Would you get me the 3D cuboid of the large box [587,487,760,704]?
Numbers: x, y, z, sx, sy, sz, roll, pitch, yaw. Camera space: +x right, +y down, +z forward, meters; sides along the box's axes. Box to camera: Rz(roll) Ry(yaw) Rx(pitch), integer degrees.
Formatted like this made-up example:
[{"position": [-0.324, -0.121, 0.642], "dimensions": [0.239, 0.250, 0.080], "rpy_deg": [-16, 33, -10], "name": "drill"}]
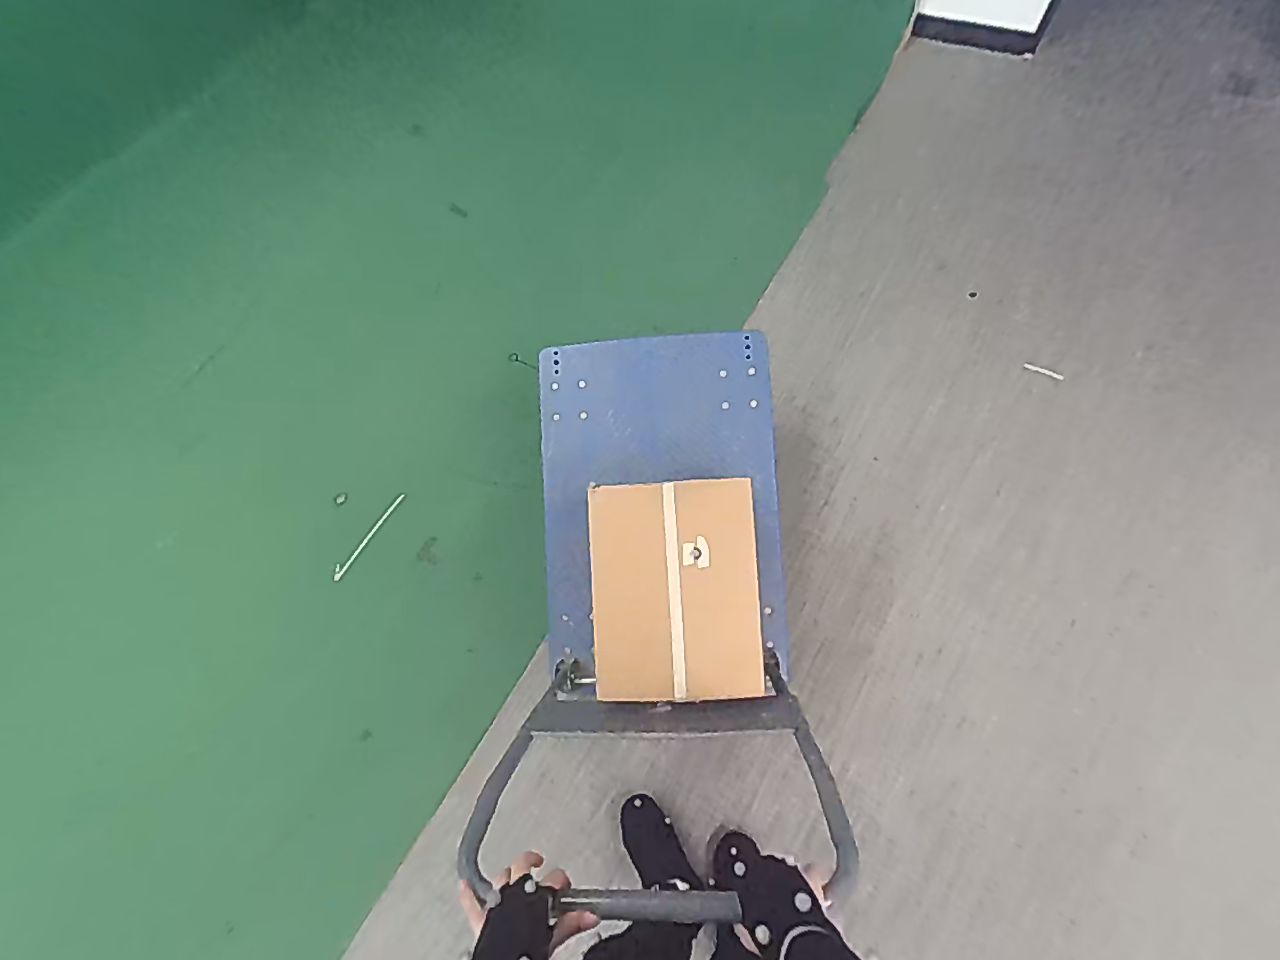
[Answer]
[{"position": [0.075, 0.235, 1.178], "dimensions": [0.320, 0.320, 0.408], "rpy_deg": [-3, 85, 5], "name": "large box"}]
